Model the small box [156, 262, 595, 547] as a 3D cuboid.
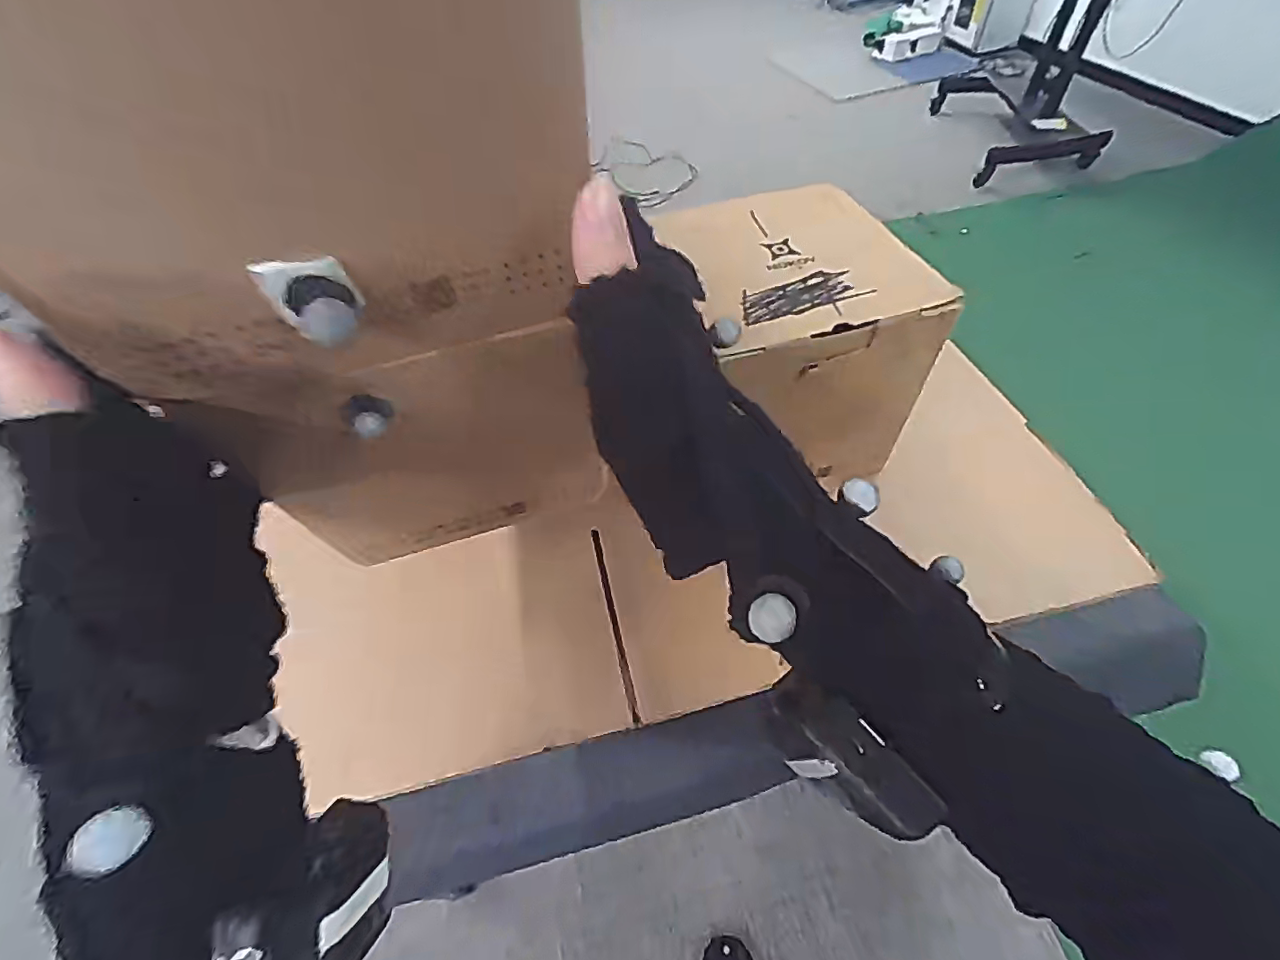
[{"bbox_3d":[-0.129,-0.085,0.321,0.168,0.176,0.179,-16,63,-10],"label":"small box"}]
